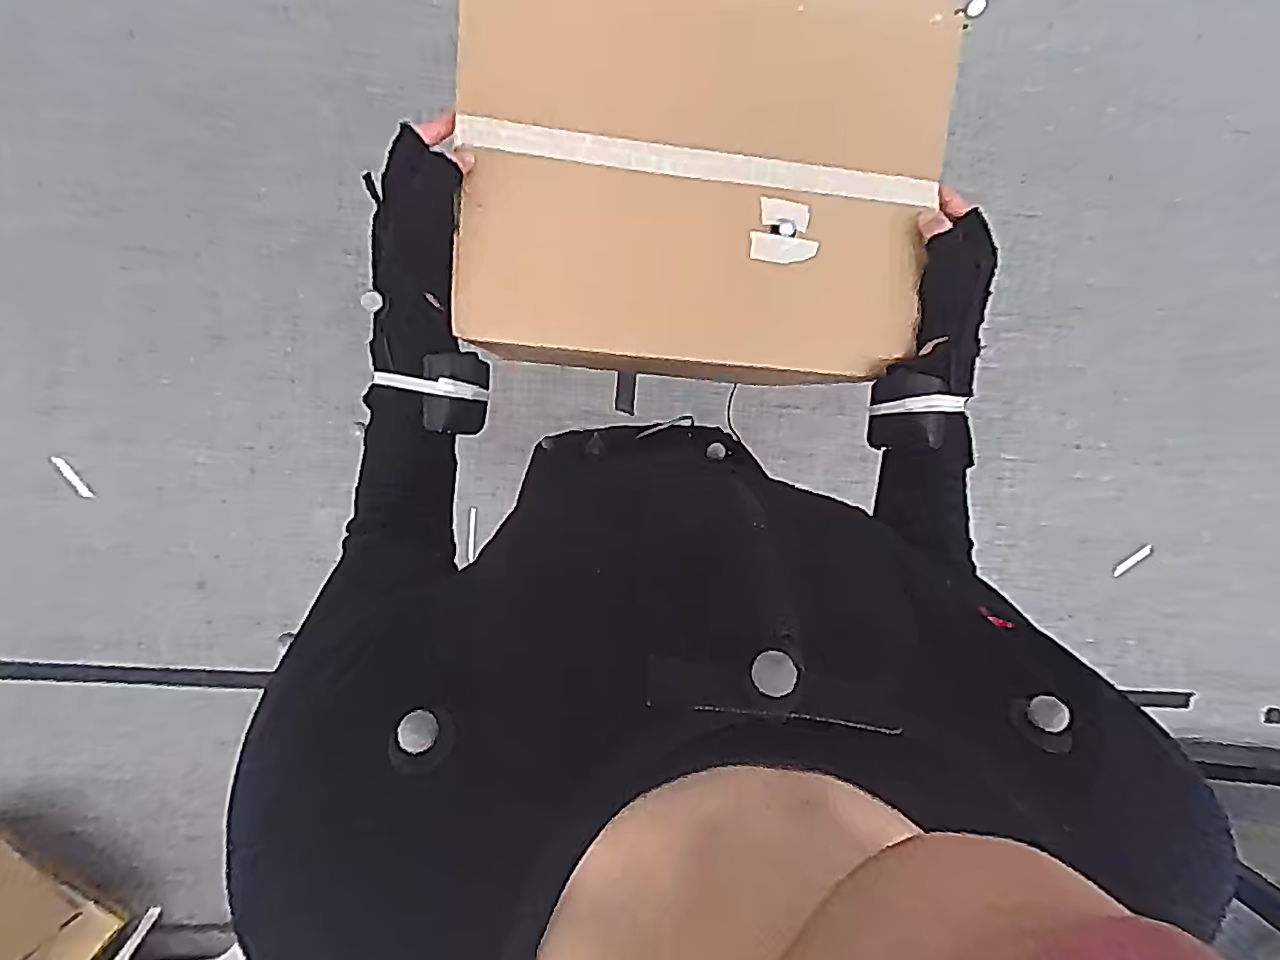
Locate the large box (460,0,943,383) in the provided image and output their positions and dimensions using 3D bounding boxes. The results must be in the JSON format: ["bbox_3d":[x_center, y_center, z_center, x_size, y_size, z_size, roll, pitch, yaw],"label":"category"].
[{"bbox_3d":[0.033,-0.279,0.603,0.408,0.320,0.320,4,100,-8],"label":"large box"}]
